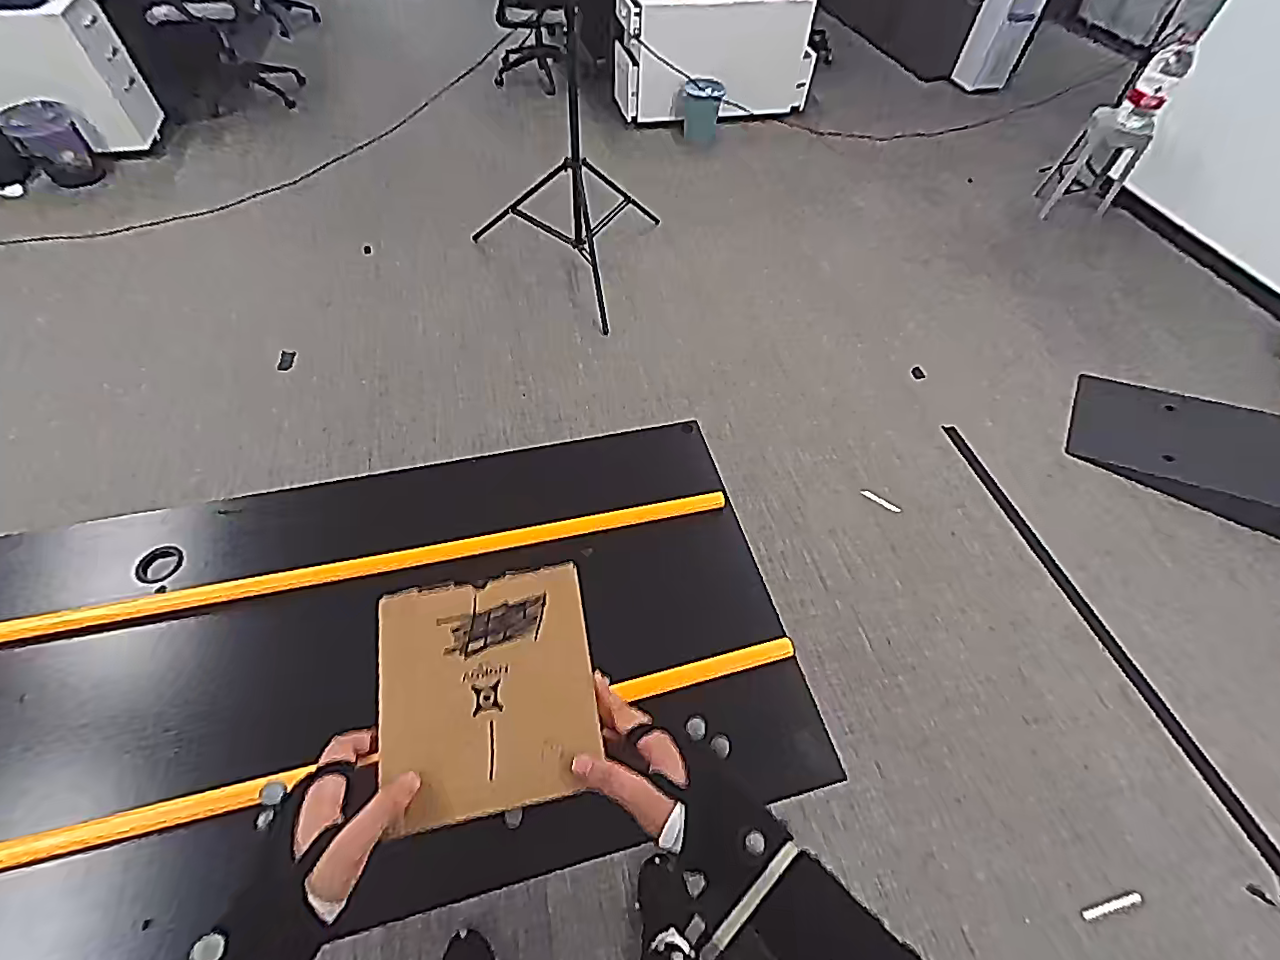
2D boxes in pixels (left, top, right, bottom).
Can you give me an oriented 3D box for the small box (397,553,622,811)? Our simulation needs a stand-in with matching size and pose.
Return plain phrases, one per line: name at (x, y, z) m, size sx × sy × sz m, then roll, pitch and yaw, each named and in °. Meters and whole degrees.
small box at (-0.115, 0.188, 0.506) m, size 0.168 × 0.176 × 0.179 m, roll -9°, pitch 64°, yaw -8°
